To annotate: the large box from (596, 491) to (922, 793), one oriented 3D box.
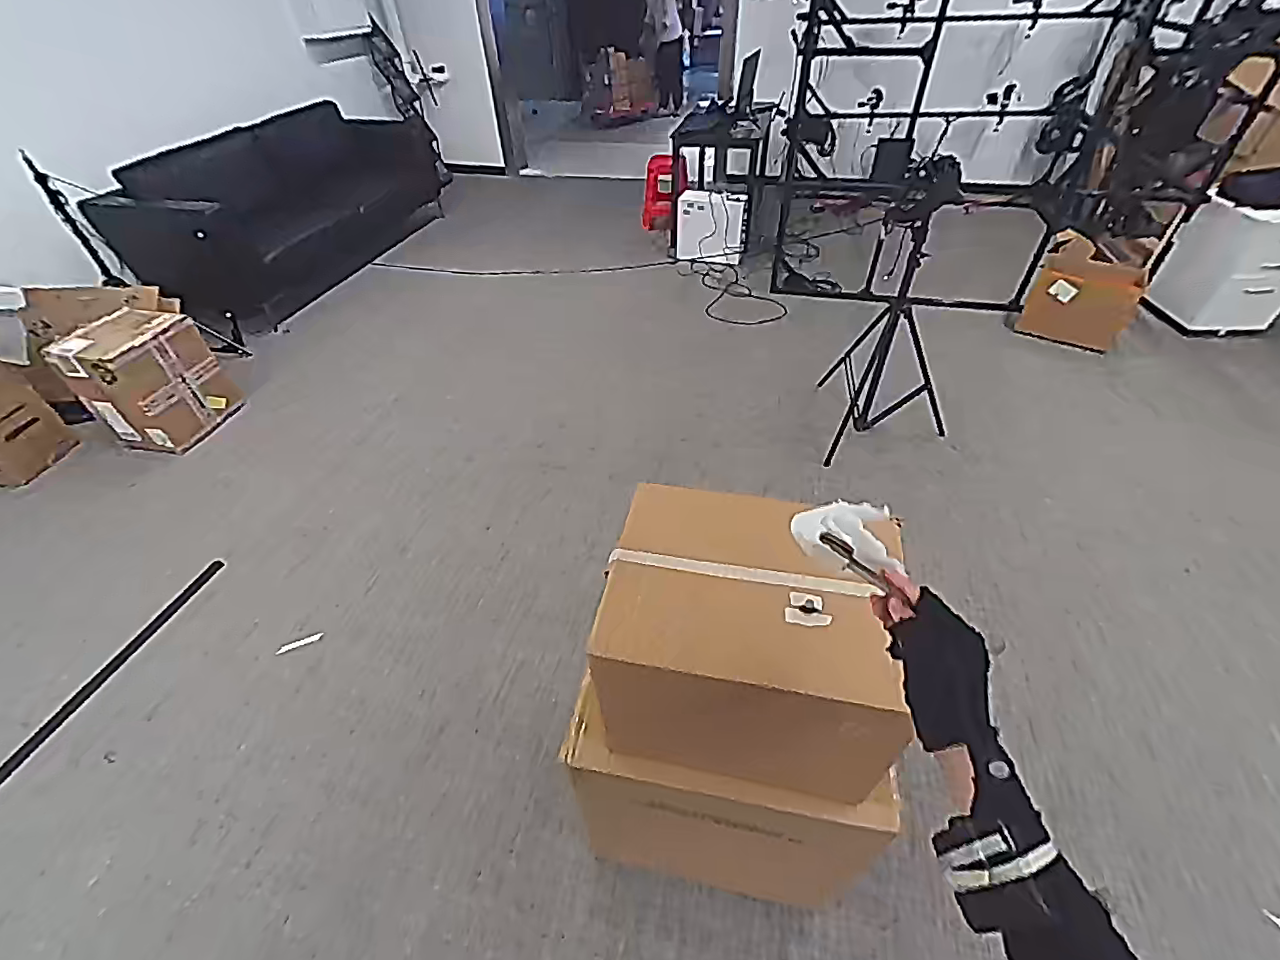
[{"bbox_3d":[0.164,0.251,0.865,0.408,0.320,0.320,7,44,9],"label":"large box"}]
